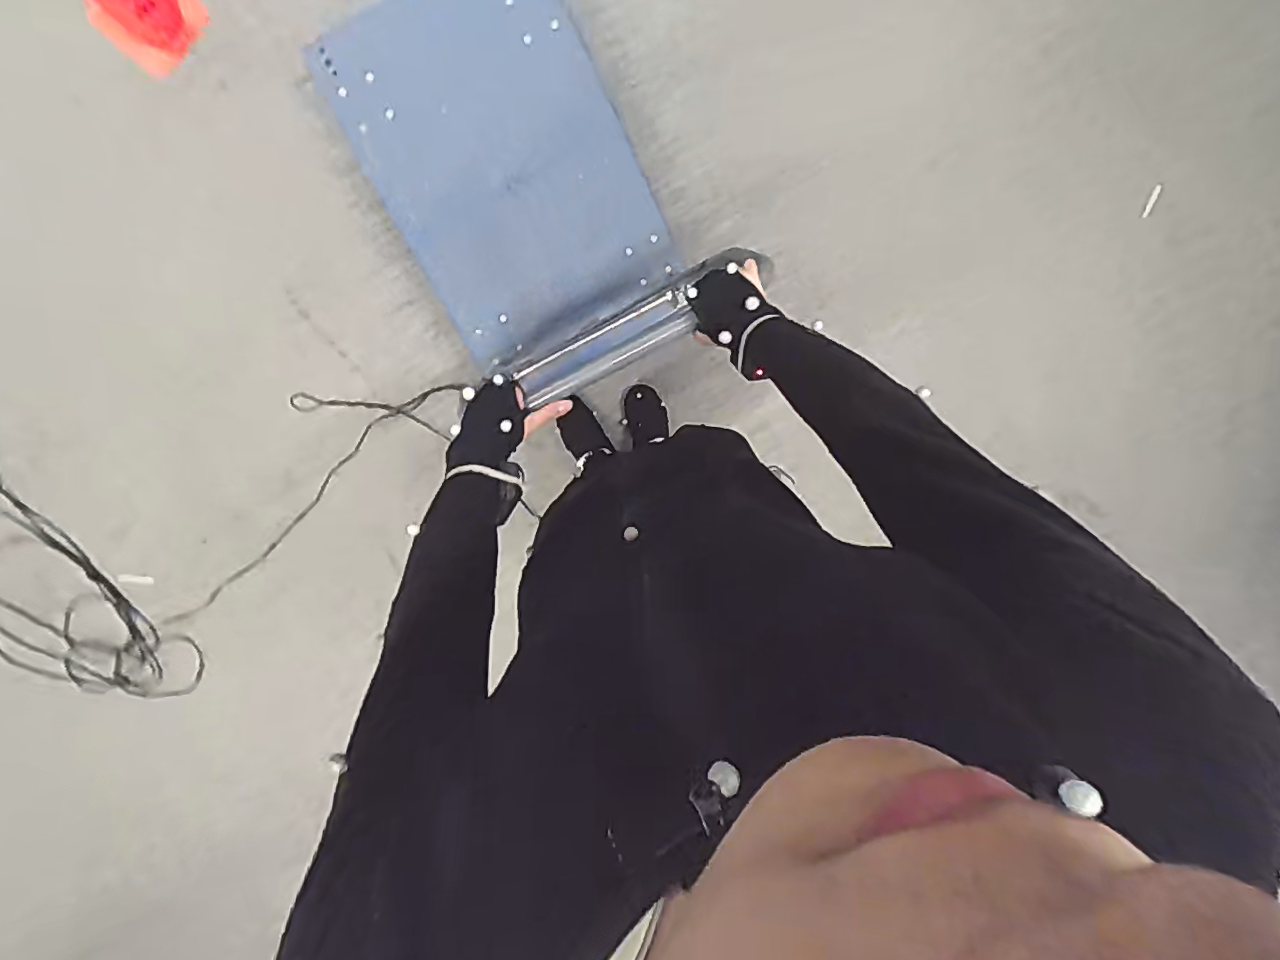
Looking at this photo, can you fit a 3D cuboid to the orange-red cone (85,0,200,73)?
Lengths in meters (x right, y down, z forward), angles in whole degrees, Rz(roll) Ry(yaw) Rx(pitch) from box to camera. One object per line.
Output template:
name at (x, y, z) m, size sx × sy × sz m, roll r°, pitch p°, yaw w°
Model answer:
orange-red cone at (-1.152, -1.057, 1.101) m, size 0.198 × 0.360 × 0.199 m, roll 43°, pitch 97°, yaw -12°
